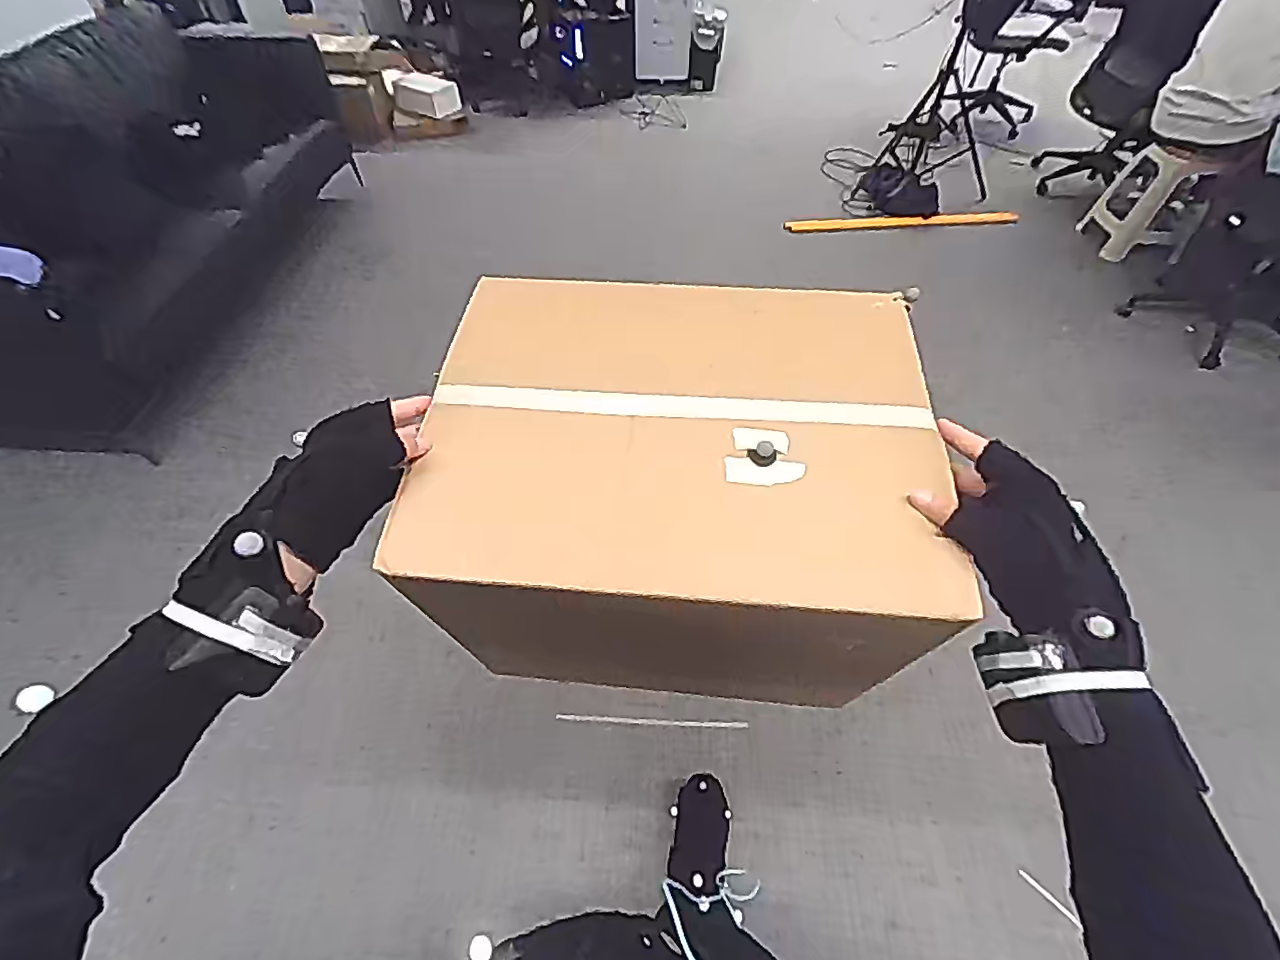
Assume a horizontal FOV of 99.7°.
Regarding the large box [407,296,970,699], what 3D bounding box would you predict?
[{"bbox_3d":[0.040,0.032,0.580,0.408,0.320,0.320,4,58,3],"label":"large box"}]
